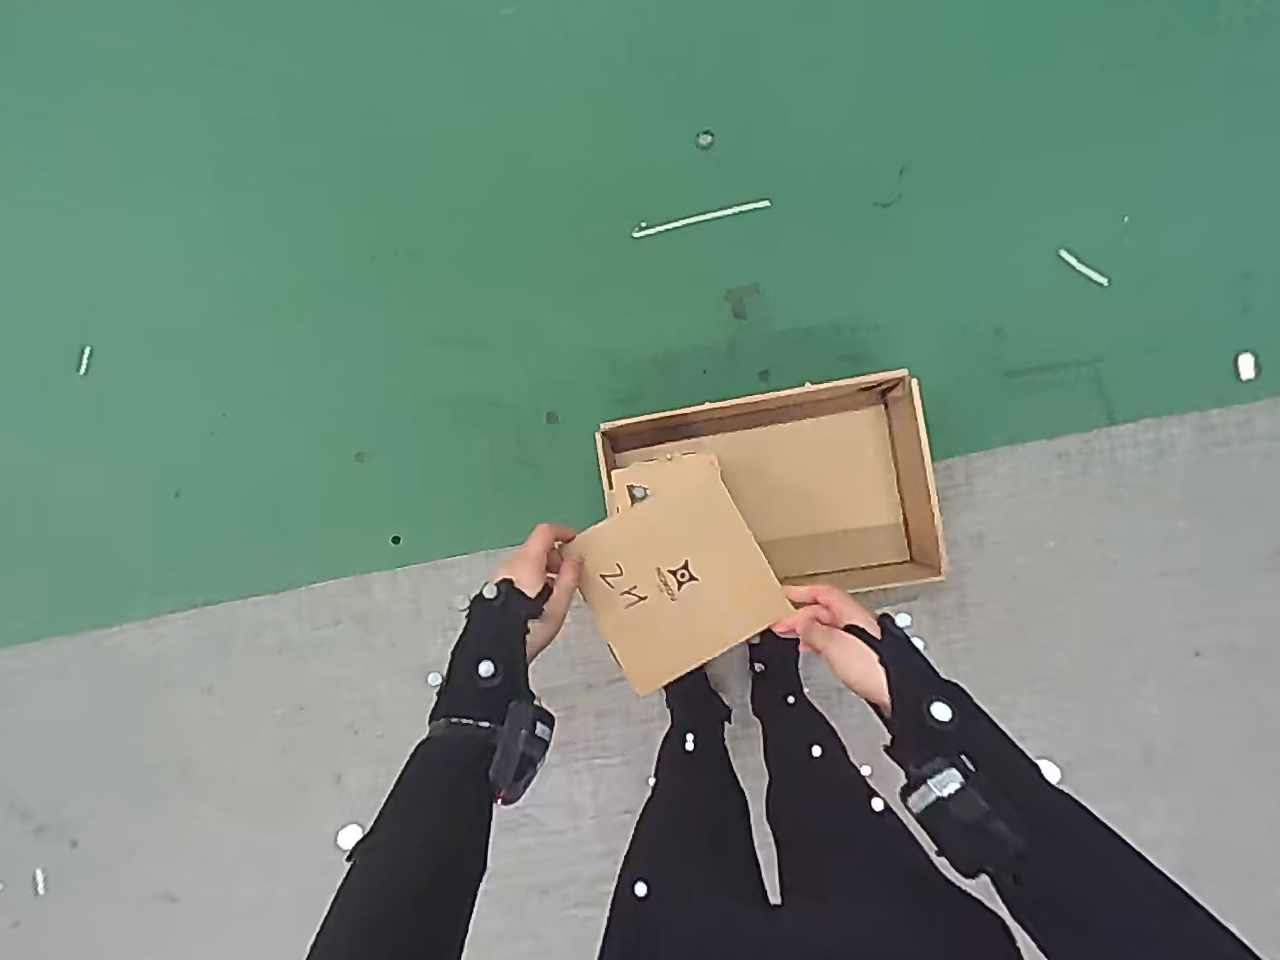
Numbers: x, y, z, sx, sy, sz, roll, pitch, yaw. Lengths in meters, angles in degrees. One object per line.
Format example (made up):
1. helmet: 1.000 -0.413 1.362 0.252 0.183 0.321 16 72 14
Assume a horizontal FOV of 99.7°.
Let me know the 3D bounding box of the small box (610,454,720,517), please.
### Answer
1. small box: 0.057 0.052 0.937 0.179 0.176 0.168 -10 90 5

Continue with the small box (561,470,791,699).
1. small box: 0.034 0.104 0.600 0.179 0.176 0.168 -28 85 -1
